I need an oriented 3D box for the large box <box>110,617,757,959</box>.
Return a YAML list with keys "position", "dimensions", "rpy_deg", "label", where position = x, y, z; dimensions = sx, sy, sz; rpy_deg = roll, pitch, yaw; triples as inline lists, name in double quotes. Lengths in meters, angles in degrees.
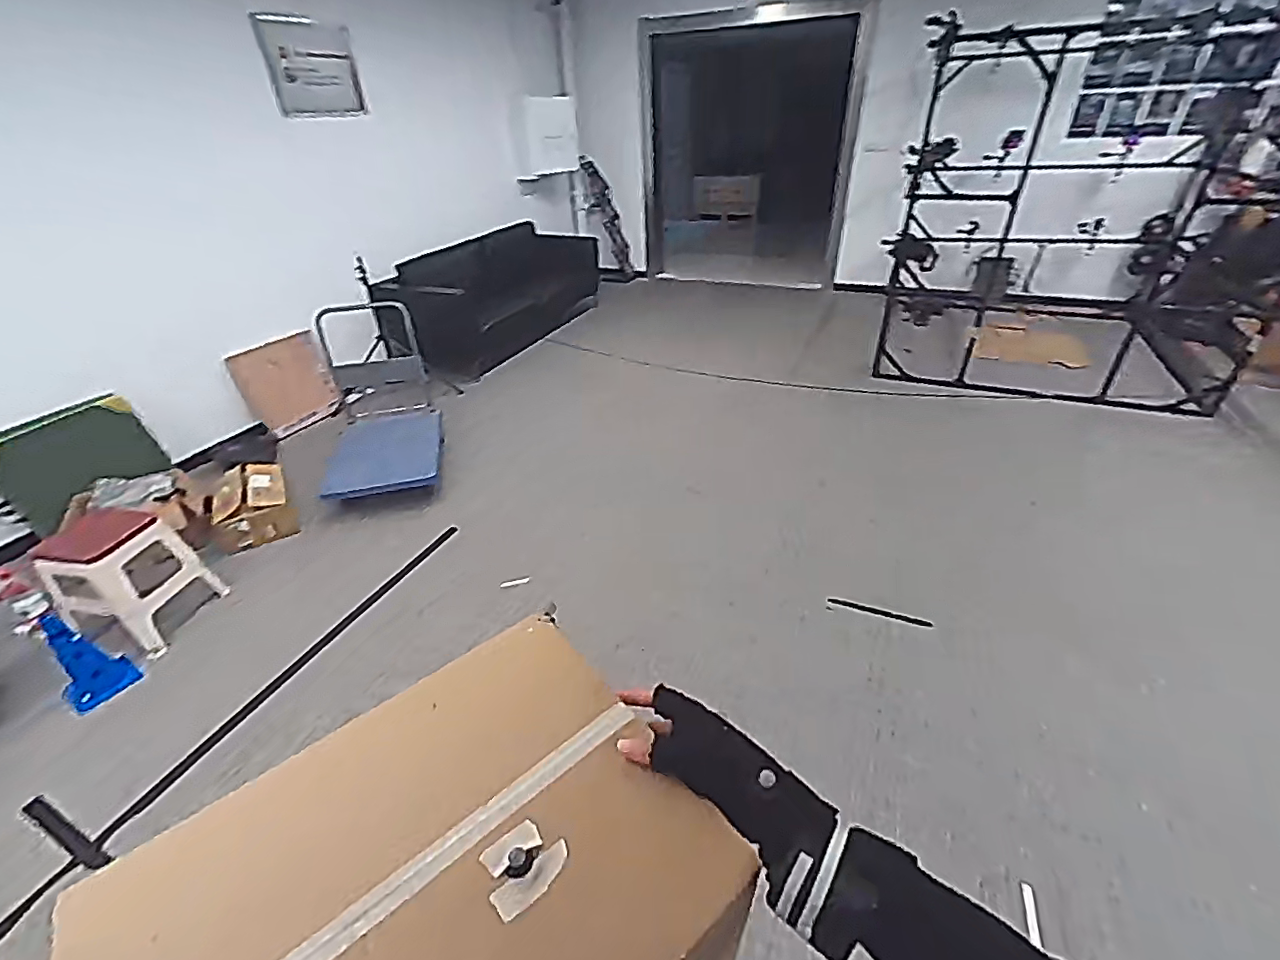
- position: [-0.150, 0.416, 0.498]
  dimensions: [0.408, 0.320, 0.320]
  rpy_deg: [-26, 43, -30]
  label: "large box"
